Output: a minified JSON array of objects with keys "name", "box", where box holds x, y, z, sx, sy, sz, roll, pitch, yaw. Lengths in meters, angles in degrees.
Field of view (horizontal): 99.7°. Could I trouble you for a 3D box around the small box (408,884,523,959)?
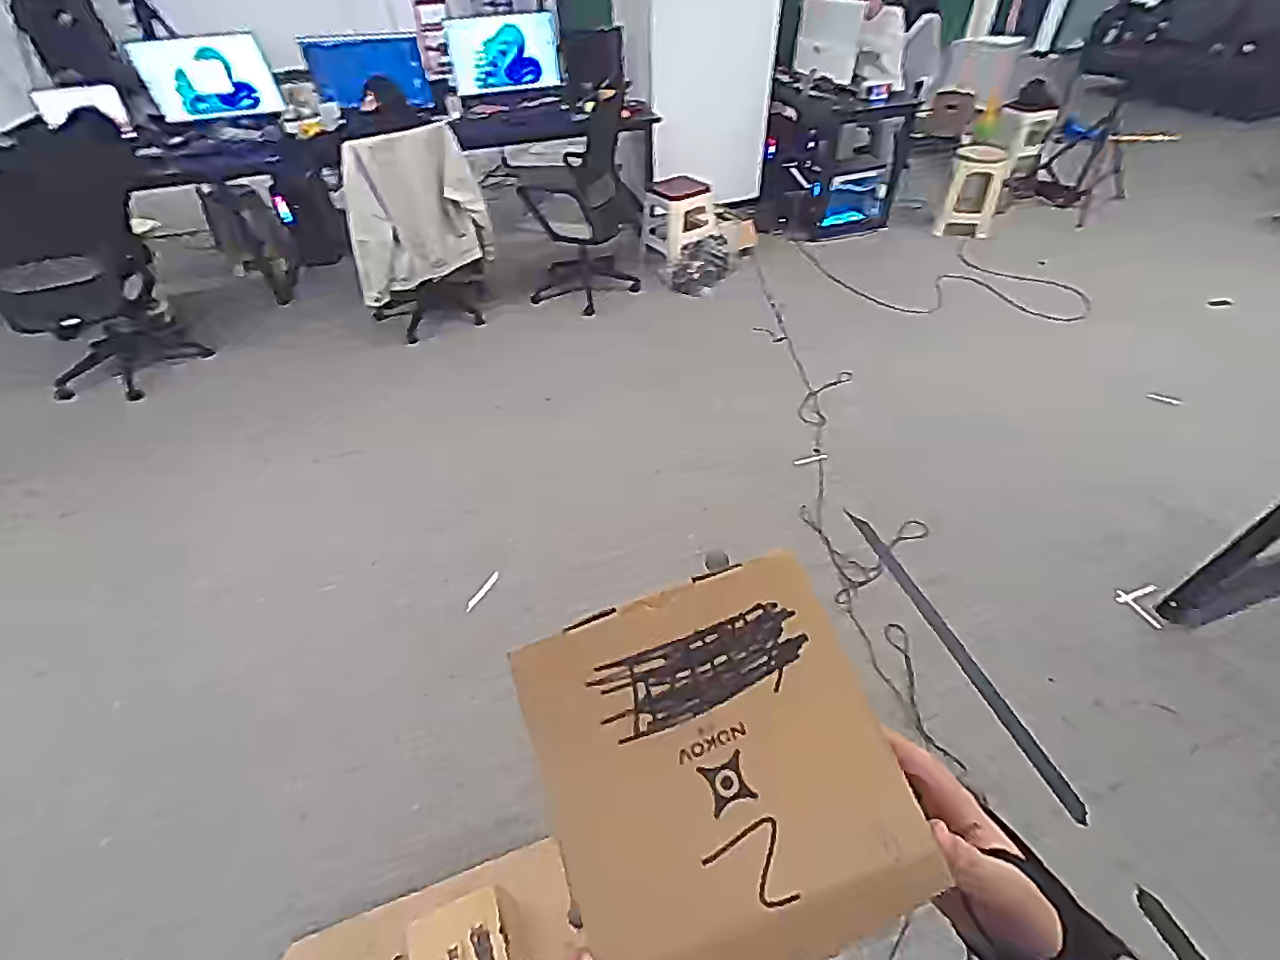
[{"name":"small box","box":[-0.334,0.938,1.063,0.179,0.176,0.168,-18,47,-14]}]
